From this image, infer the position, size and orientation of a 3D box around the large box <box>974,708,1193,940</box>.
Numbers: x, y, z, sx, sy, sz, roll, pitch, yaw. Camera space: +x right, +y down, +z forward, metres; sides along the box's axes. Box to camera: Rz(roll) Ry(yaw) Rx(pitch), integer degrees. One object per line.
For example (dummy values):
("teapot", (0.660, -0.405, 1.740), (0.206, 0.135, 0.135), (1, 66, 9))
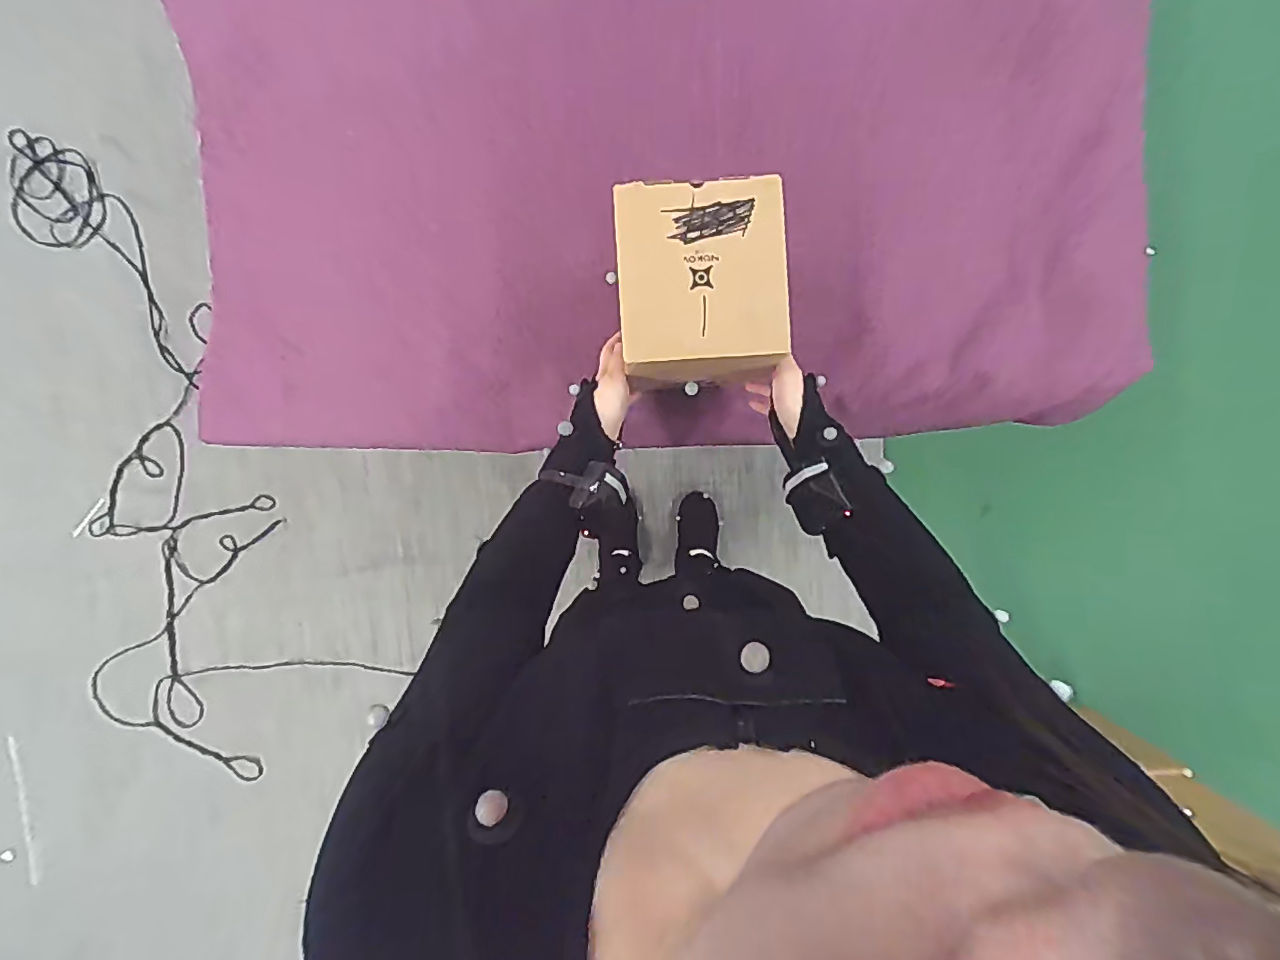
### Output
("large box", (1.096, 0.847, 1.379), (0.320, 0.320, 0.408), (-1, 95, 1))

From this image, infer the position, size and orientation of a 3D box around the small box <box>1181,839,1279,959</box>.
("small box", (1.140, 0.776, 0.965), (0.179, 0.176, 0.168), (-2, 95, 1))

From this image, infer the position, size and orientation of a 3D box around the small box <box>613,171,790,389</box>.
("small box", (0.058, -0.202, 0.588), (0.168, 0.176, 0.179), (-3, 91, 1))

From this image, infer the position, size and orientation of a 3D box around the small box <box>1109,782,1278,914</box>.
("small box", (1.143, 0.760, 1.129), (0.179, 0.176, 0.168), (-1, 95, 0))
